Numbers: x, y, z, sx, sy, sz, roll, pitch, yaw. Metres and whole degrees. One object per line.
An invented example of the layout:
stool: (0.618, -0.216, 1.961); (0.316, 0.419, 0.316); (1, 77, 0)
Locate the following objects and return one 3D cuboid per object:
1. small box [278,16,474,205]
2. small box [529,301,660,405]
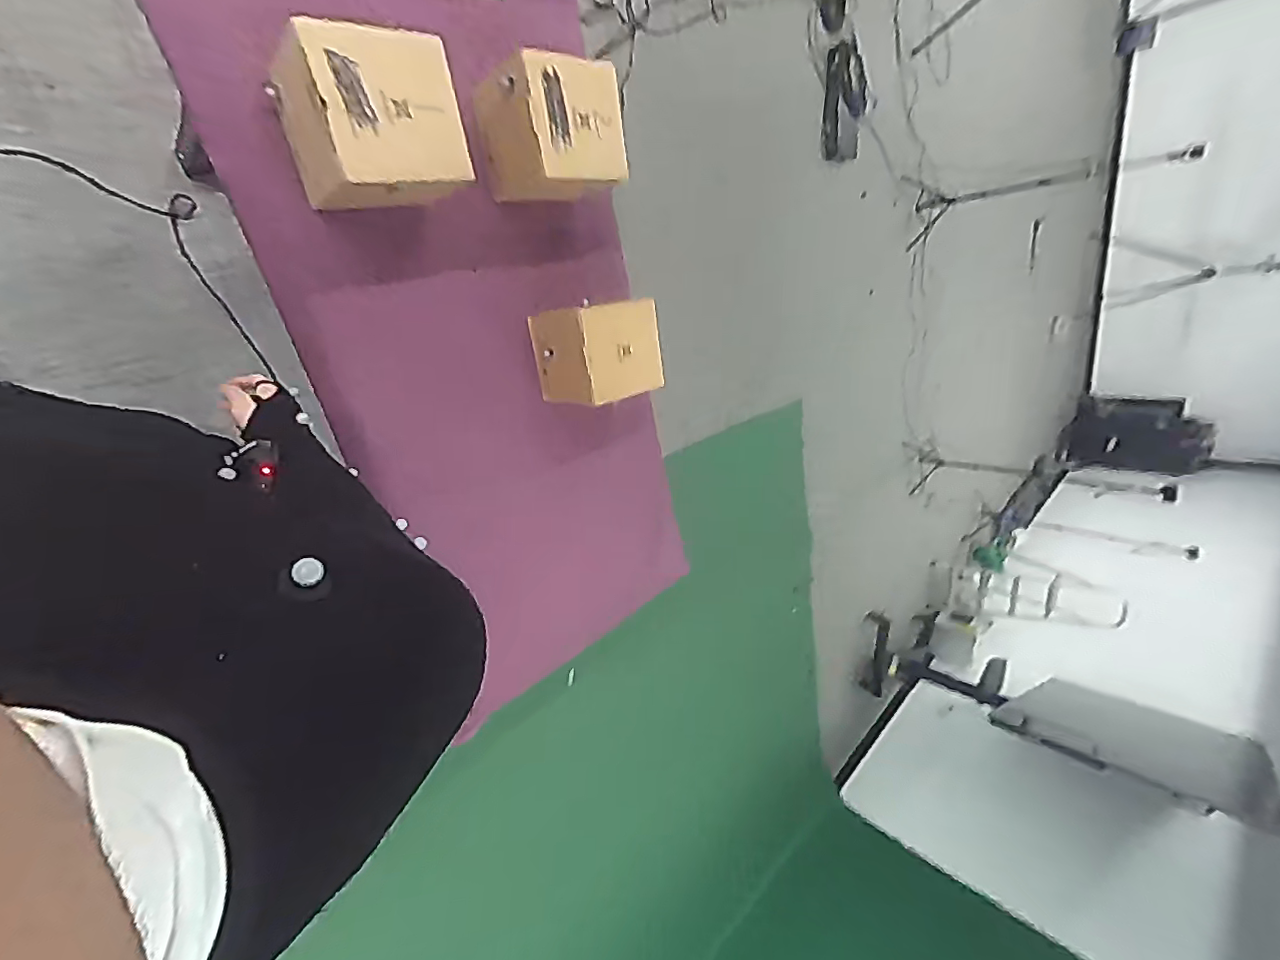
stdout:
small box: (-0.358, -0.476, 0.727); (0.179, 0.176, 0.168); (-27, 118, -38)
small box: (-0.087, -0.250, 1.040); (0.179, 0.176, 0.168); (-24, 116, -36)
